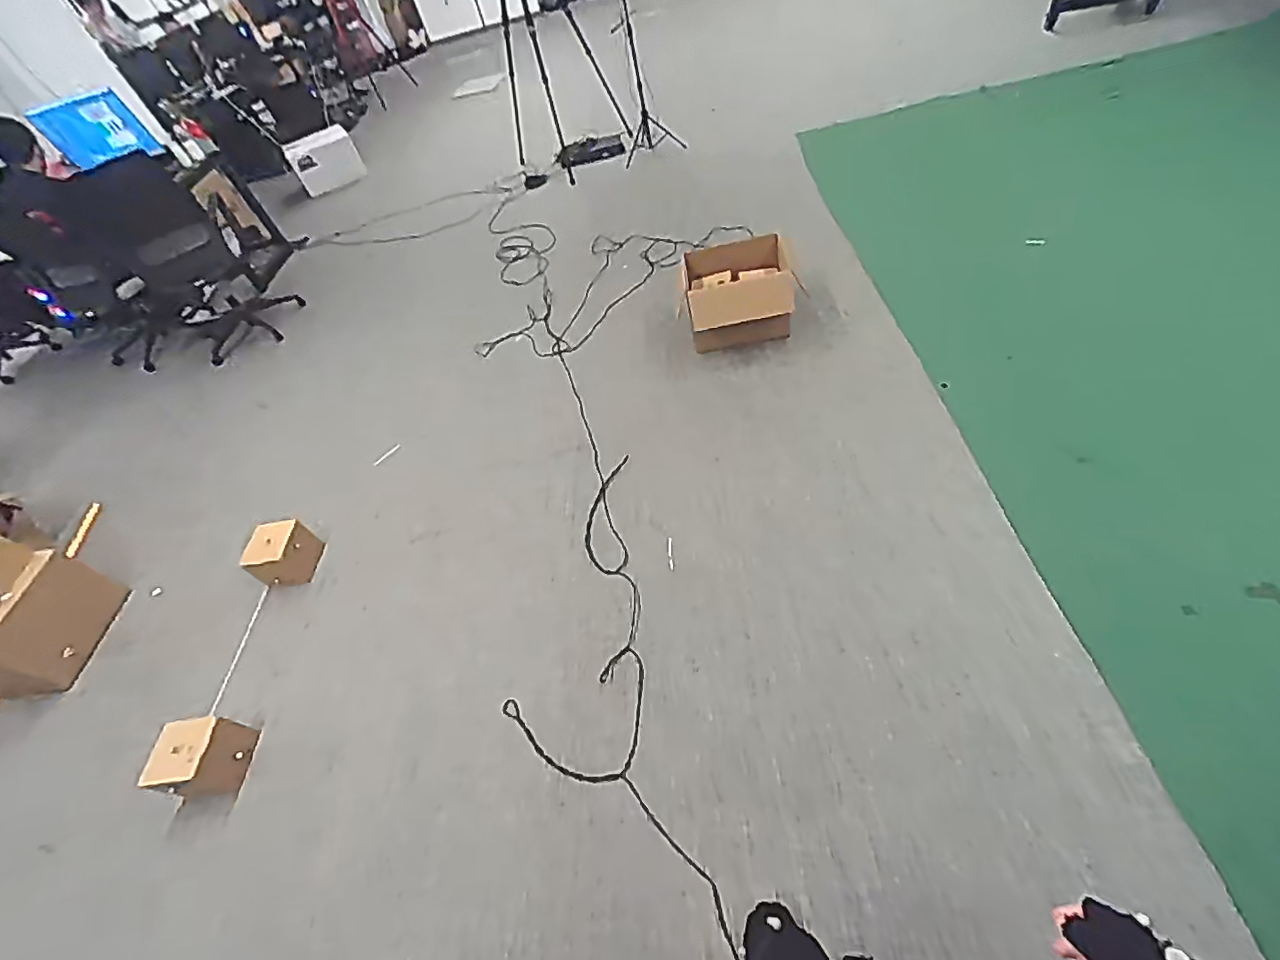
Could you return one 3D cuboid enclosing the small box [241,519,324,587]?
[{"bbox_3d":[-1.302,0.270,1.986,0.168,0.176,0.179,-10,51,7],"label":"small box"}]

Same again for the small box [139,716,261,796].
[{"bbox_3d":[-1.247,0.793,1.547,0.179,0.176,0.168,-10,50,7],"label":"small box"}]
